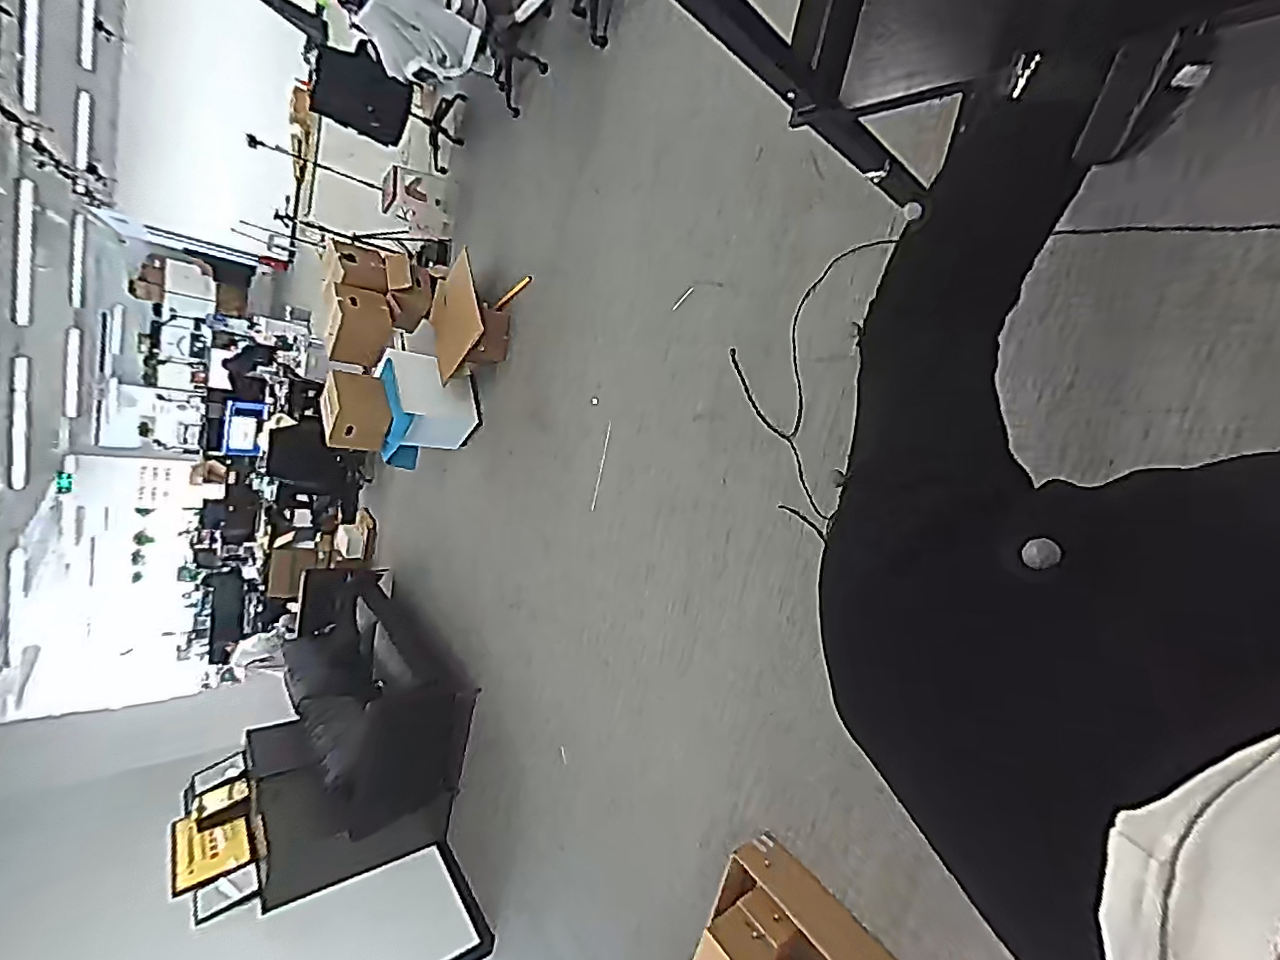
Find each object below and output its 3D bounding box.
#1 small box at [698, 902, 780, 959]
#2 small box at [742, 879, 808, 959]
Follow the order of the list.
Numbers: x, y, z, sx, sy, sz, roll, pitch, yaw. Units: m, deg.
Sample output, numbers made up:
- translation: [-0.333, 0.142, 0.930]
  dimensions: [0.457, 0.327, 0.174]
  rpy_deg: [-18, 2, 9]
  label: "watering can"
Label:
- translation: [0.304, 1.462, 1.657]
  dimensions: [0.168, 0.176, 0.179]
  rpy_deg: [27, 107, 44]
  label: "small box"
- translation: [0.424, 1.466, 1.767]
  dimensions: [0.168, 0.176, 0.179]
  rpy_deg: [25, 106, 46]
  label: "small box"
